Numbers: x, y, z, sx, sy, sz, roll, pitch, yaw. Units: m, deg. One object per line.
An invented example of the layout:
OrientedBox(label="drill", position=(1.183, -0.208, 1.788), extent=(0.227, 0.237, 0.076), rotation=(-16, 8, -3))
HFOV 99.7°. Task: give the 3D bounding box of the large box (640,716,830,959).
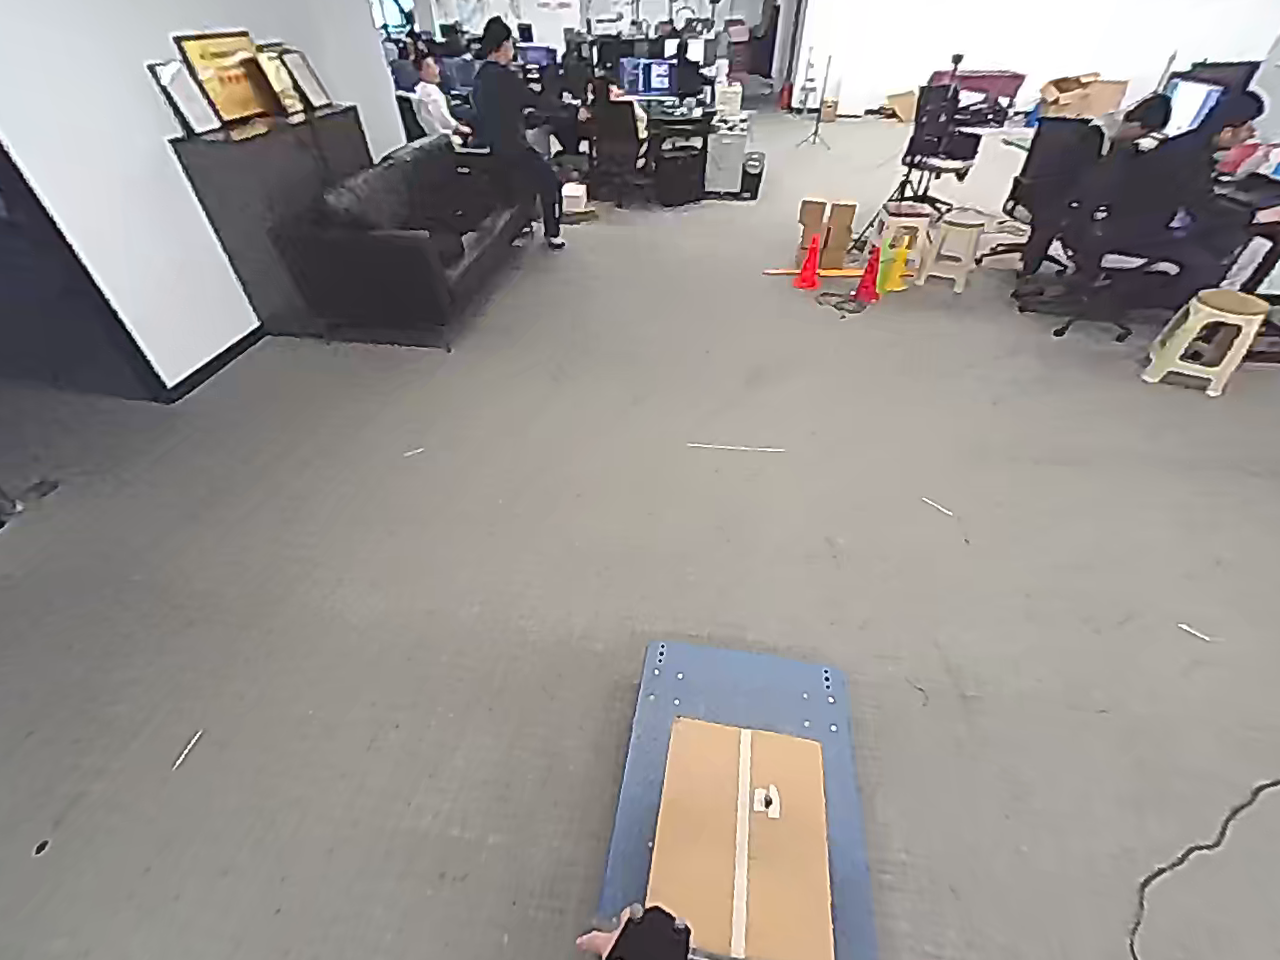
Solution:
OrientedBox(label="large box", position=(0.184, 0.771, 1.108), extent=(0.320, 0.320, 0.408), rotation=(7, 40, 8))
